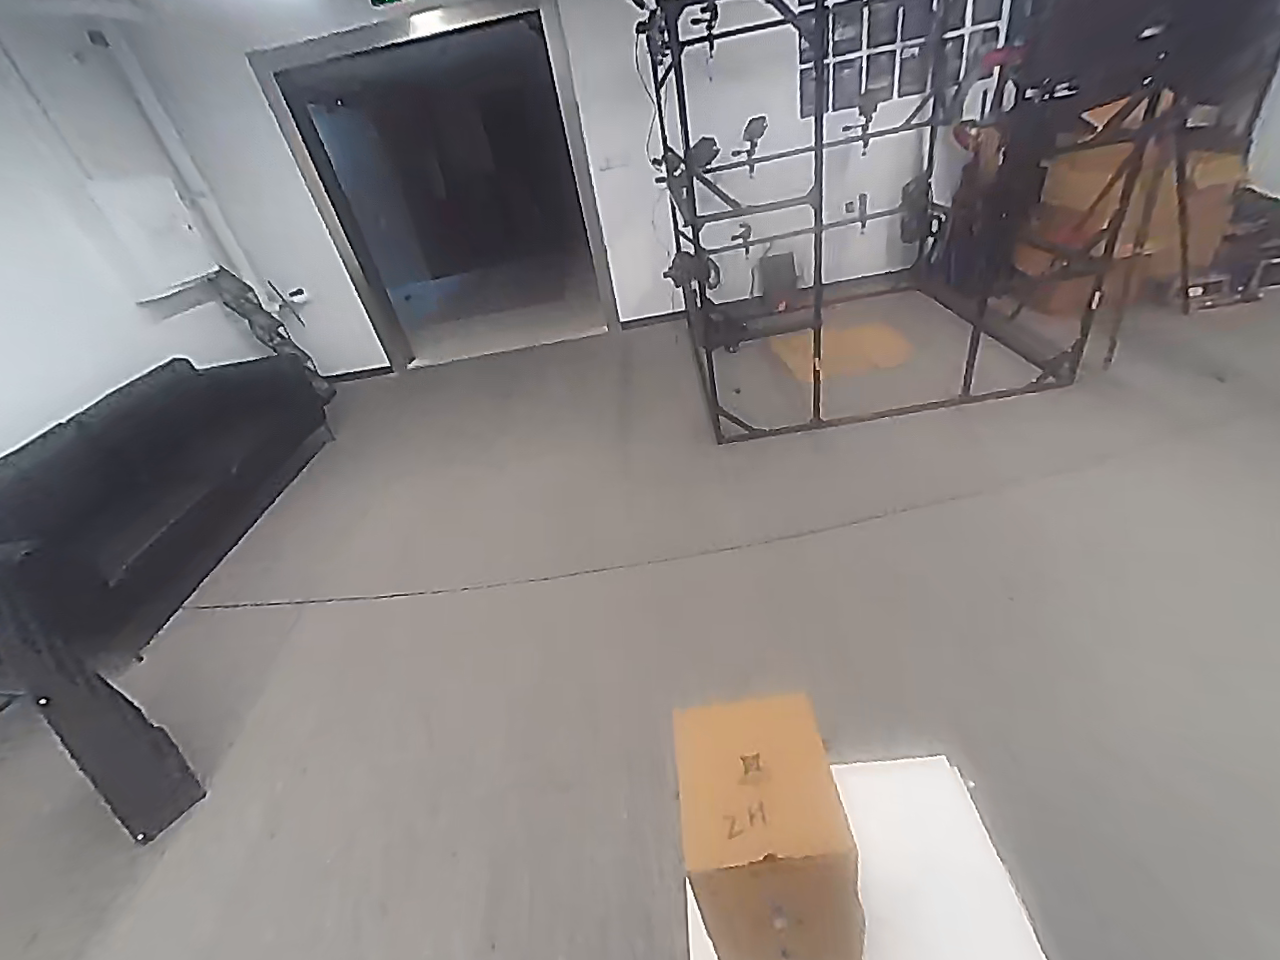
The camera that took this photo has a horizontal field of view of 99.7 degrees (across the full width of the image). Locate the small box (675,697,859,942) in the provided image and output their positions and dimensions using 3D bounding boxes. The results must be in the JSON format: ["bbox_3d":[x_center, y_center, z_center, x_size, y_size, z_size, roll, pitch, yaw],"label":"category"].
[{"bbox_3d":[0.138,0.385,0.622,0.168,0.176,0.179,-11,32,5],"label":"small box"}]

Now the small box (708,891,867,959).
[{"bbox_3d":[0.176,0.522,0.704,0.179,0.176,0.168,-12,32,5],"label":"small box"}]
